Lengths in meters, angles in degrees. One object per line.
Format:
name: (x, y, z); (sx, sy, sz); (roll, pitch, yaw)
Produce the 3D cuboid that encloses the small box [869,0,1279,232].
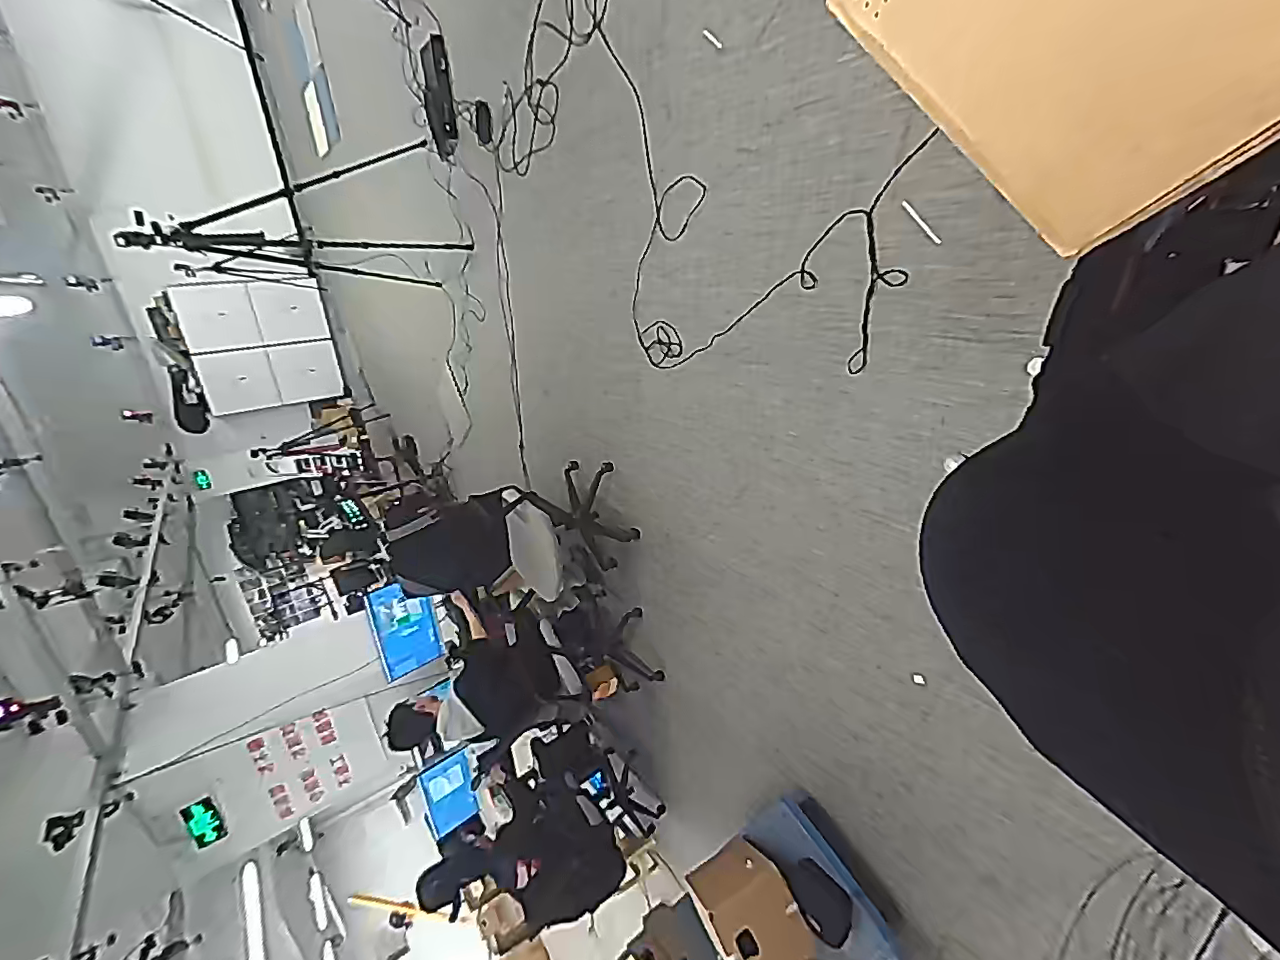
small box: (0.218, -0.242, 0.193); (0.176, 0.168, 0.179); (48, 164, 4)
